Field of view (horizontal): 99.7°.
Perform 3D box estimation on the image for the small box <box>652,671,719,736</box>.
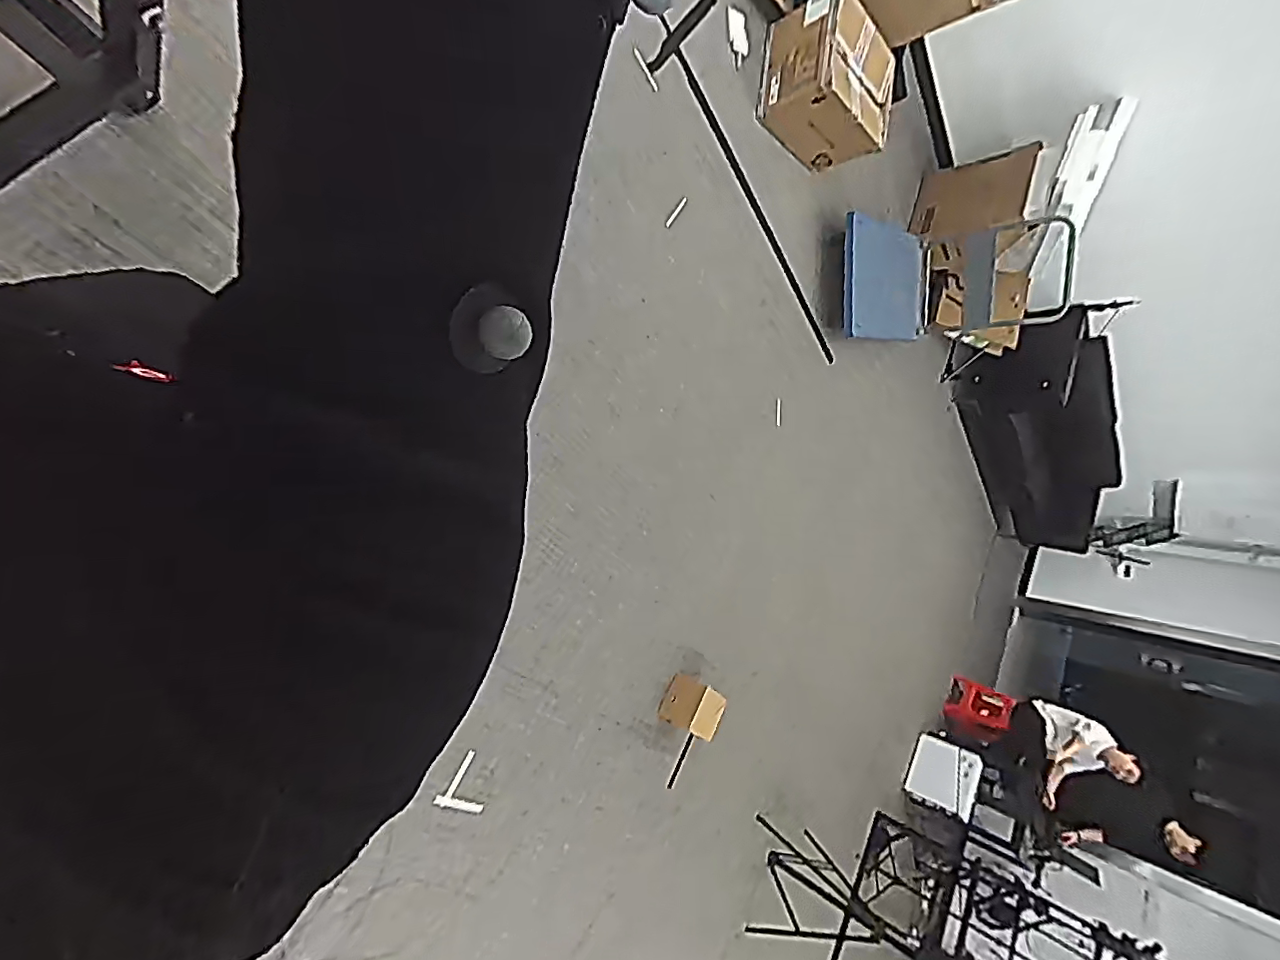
[{"bbox_3d":[0.184,0.896,2.153,0.168,0.176,0.179,47,64,-37],"label":"small box"}]
